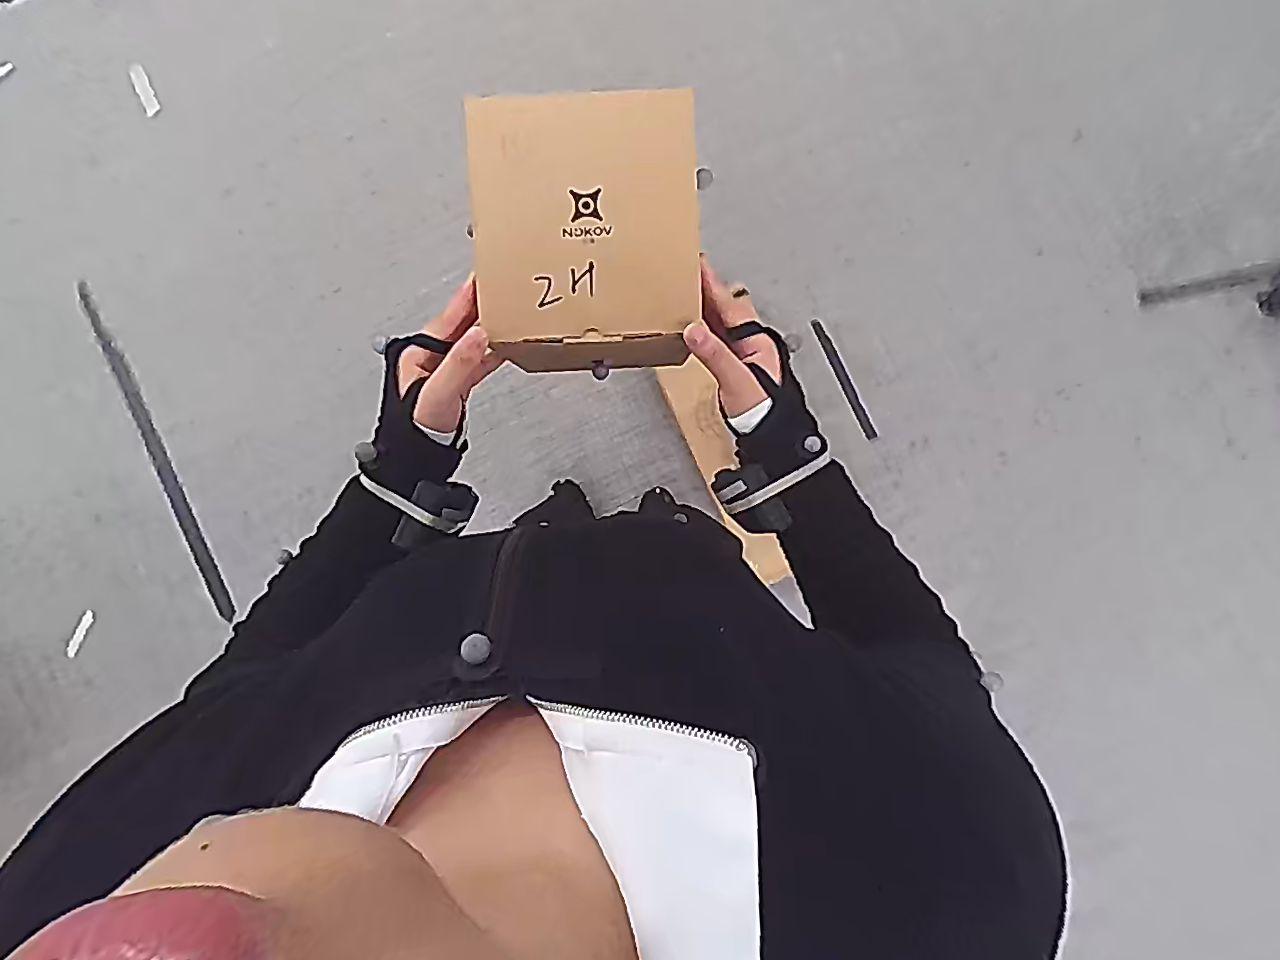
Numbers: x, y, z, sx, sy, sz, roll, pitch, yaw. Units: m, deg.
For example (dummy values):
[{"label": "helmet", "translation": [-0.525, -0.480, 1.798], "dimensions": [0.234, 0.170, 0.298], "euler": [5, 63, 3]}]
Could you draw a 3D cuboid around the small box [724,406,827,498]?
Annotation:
[{"label": "small box", "translation": [0.319, -0.066, 1.305], "dimensions": [0.179, 0.176, 0.168], "euler": [-21, 90, 2]}]

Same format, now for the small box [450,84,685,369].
[{"label": "small box", "translation": [-0.053, -0.200, 0.474], "dimensions": [0.168, 0.176, 0.179], "euler": [-4, 94, 0]}]
